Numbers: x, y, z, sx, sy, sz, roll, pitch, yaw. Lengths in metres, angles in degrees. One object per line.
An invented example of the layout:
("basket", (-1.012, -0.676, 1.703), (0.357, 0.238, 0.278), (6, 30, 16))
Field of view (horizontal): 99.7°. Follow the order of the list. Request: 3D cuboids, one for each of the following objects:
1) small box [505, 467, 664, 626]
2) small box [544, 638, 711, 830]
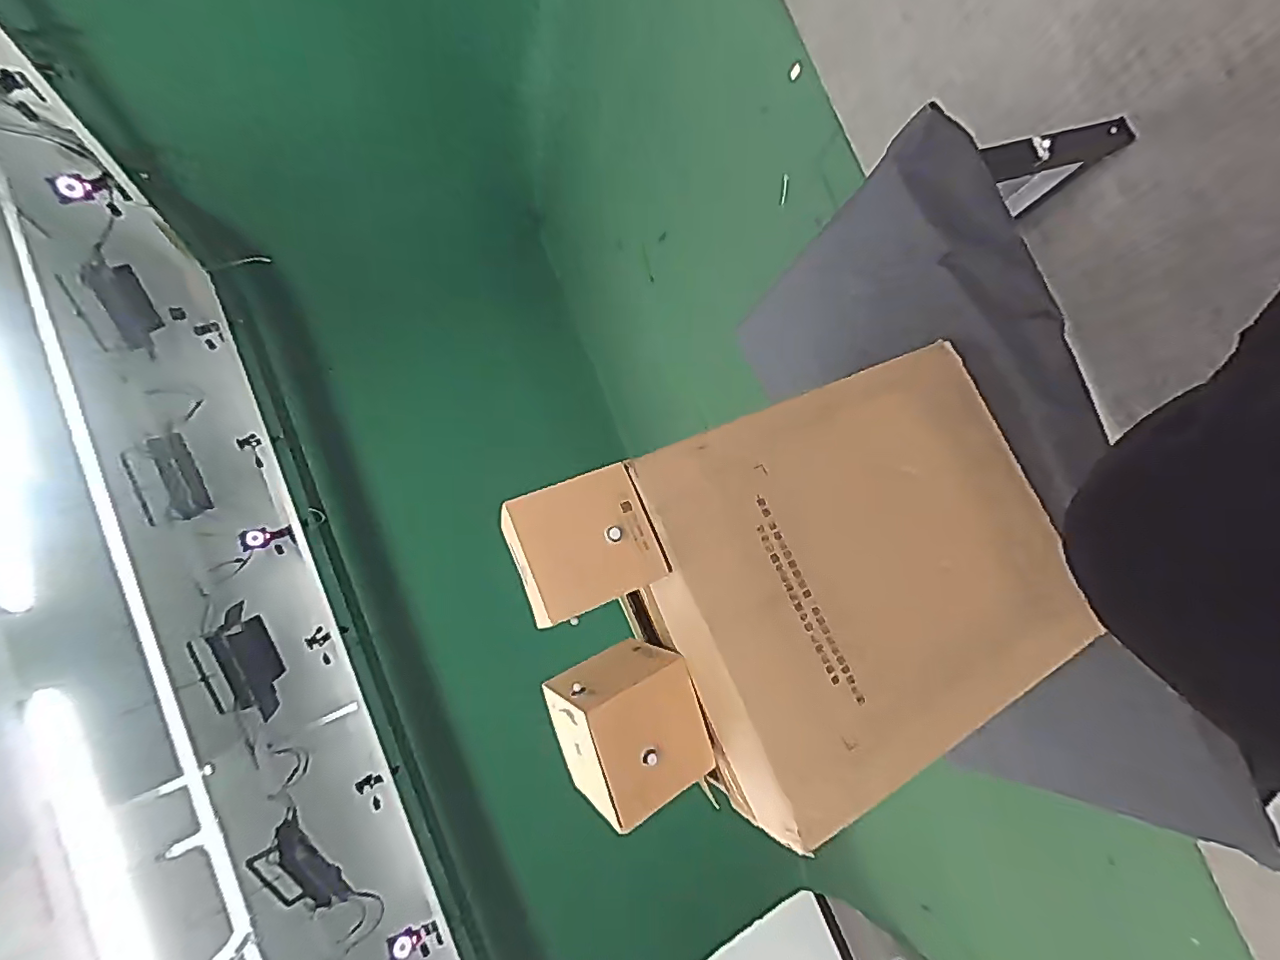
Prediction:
("small box", (-0.084, 0.098, 0.772), (0.168, 0.176, 0.179), (67, 160, 8))
("small box", (-0.018, 0.365, 0.816), (0.168, 0.176, 0.179), (-11, 98, 59))
